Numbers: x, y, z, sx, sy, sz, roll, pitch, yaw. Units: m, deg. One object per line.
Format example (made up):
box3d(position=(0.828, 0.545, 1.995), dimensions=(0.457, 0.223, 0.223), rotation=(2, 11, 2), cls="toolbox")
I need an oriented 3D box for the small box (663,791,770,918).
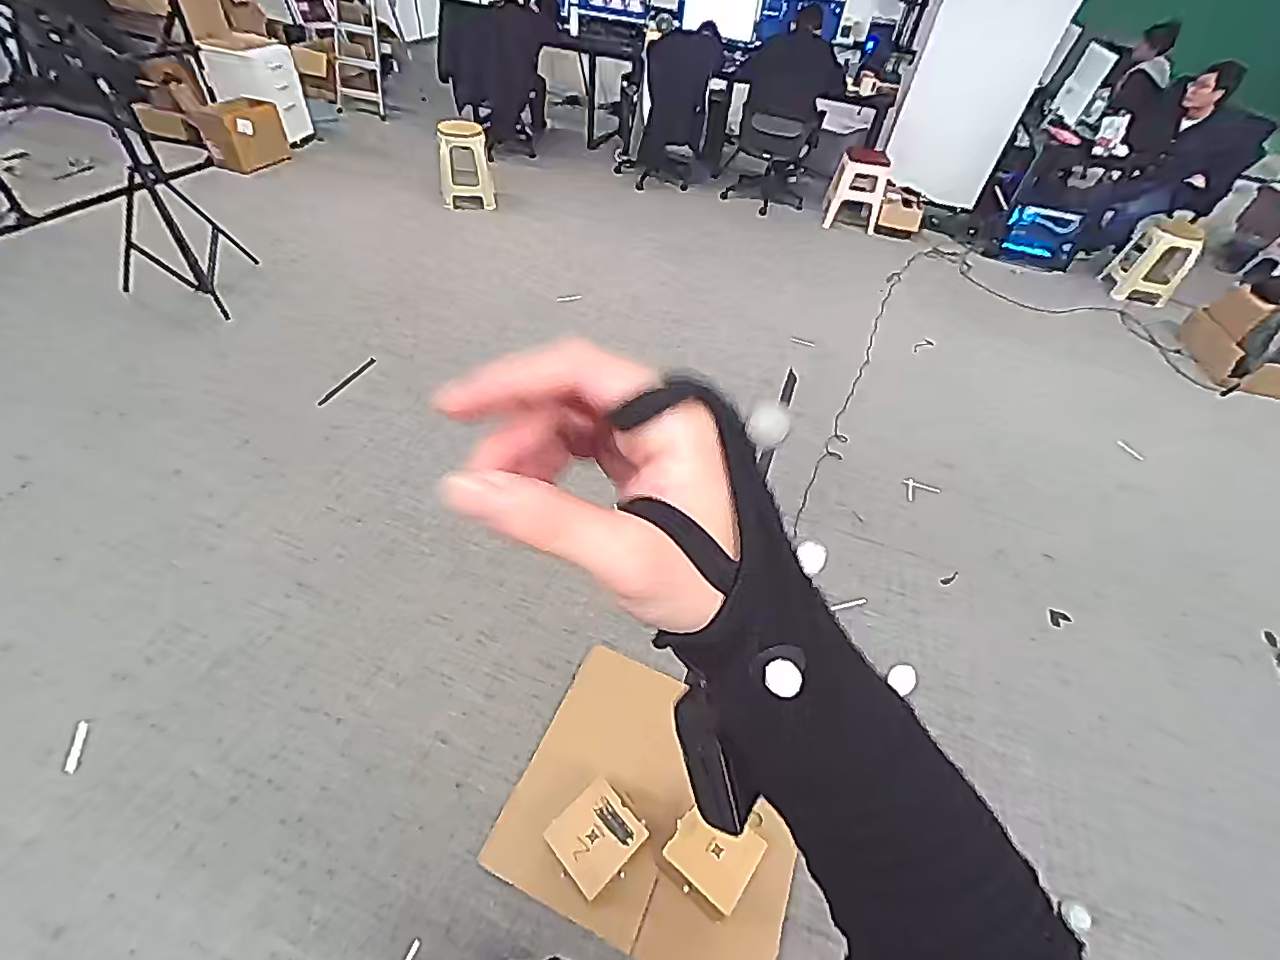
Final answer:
box3d(position=(0.170, 0.866, 1.246), dimensions=(0.179, 0.176, 0.168), rotation=(31, 53, 25), cls="small box")
